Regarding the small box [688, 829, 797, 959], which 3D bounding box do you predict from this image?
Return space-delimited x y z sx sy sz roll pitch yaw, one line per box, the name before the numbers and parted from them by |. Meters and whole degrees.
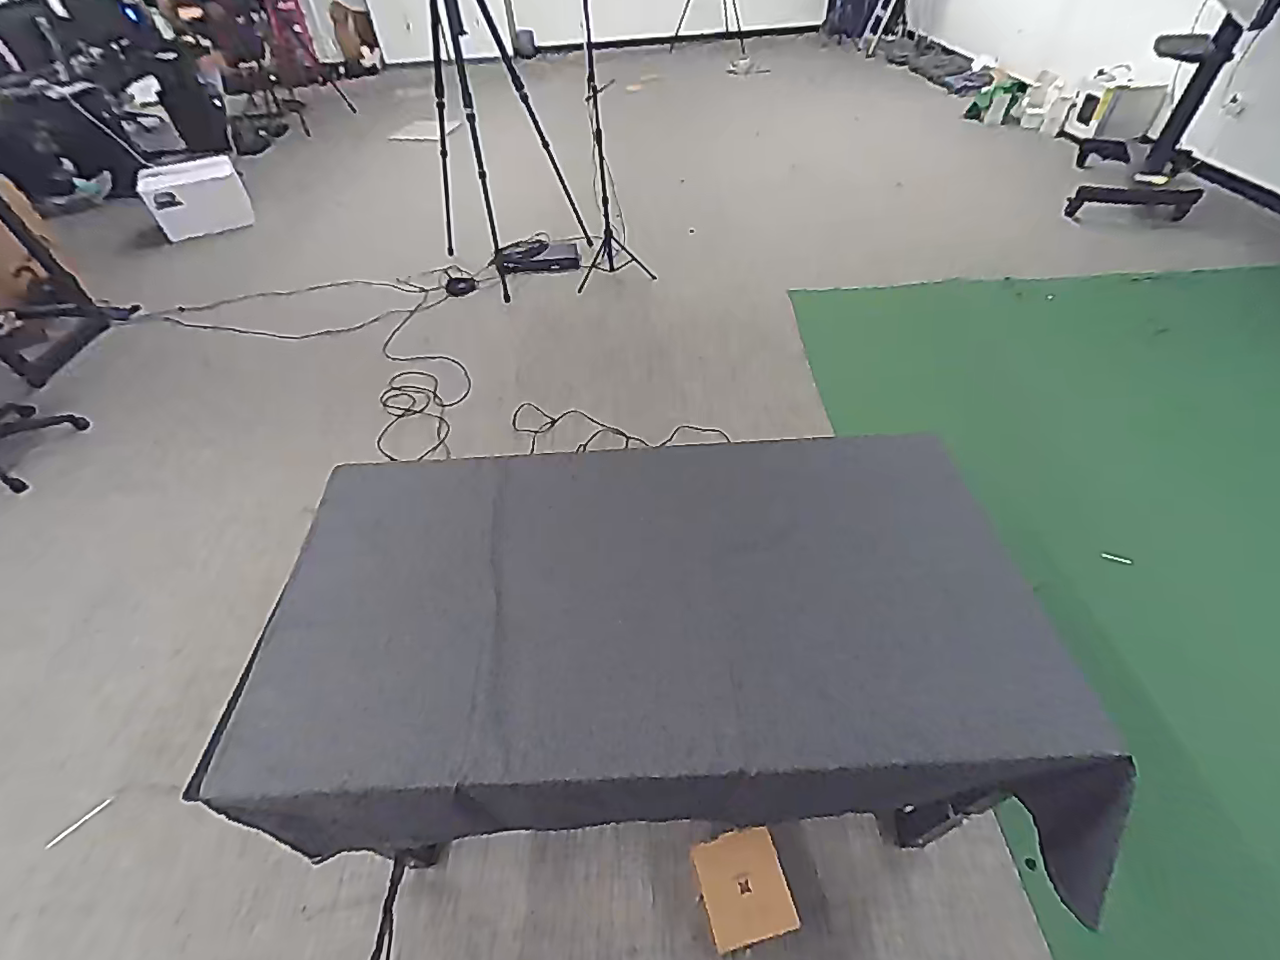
small box | 0.198 0.855 1.110 0.168 0.176 0.179 -12 47 -7
